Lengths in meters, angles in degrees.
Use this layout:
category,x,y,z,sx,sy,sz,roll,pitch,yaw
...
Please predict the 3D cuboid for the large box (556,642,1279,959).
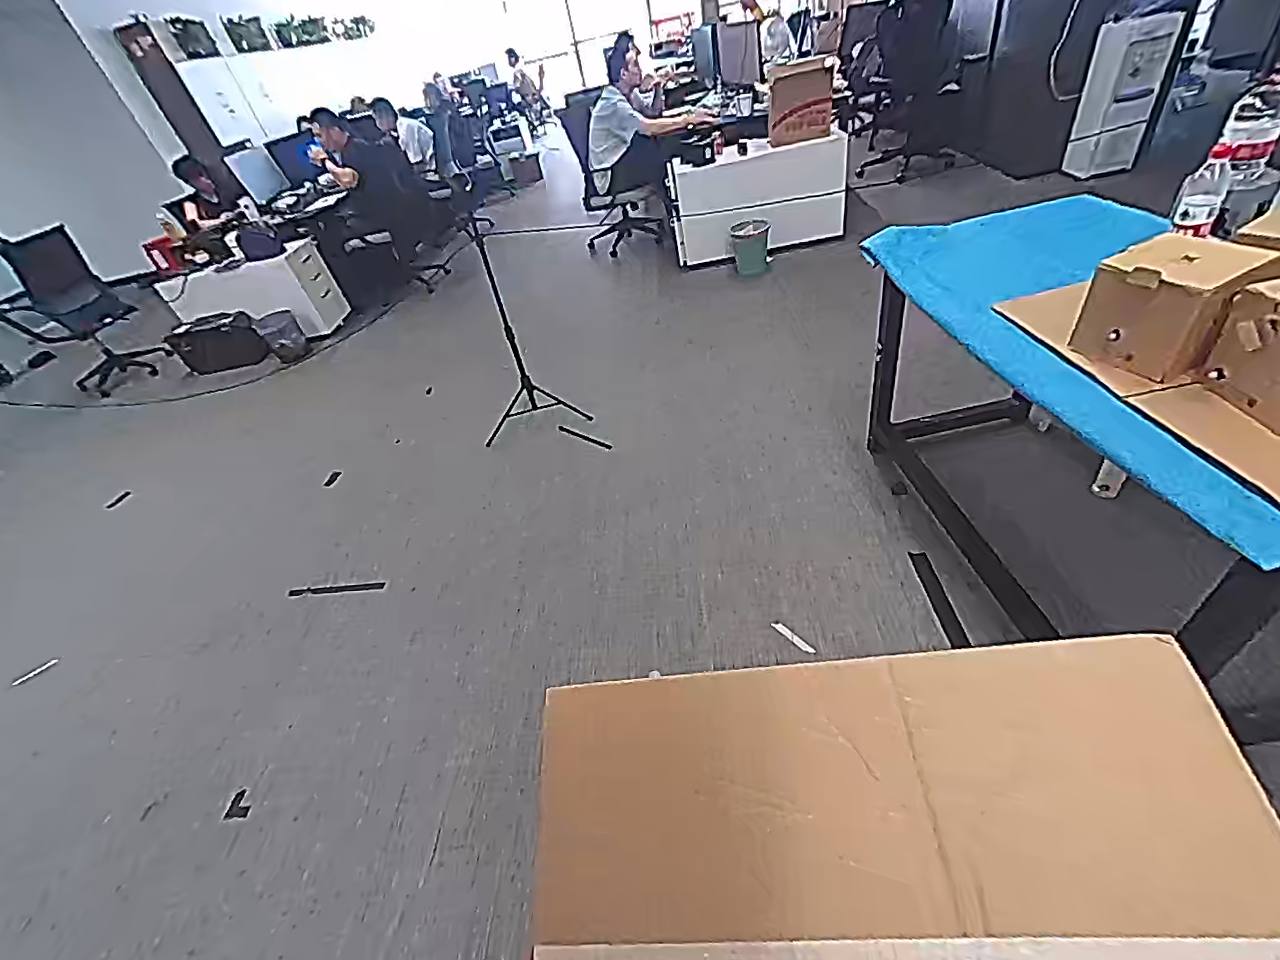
category,x,y,z,sx,sy,sz,roll,pitch,yaw
large box,0.172,0.339,0.423,0.408,0.320,0.320,-9,59,10
